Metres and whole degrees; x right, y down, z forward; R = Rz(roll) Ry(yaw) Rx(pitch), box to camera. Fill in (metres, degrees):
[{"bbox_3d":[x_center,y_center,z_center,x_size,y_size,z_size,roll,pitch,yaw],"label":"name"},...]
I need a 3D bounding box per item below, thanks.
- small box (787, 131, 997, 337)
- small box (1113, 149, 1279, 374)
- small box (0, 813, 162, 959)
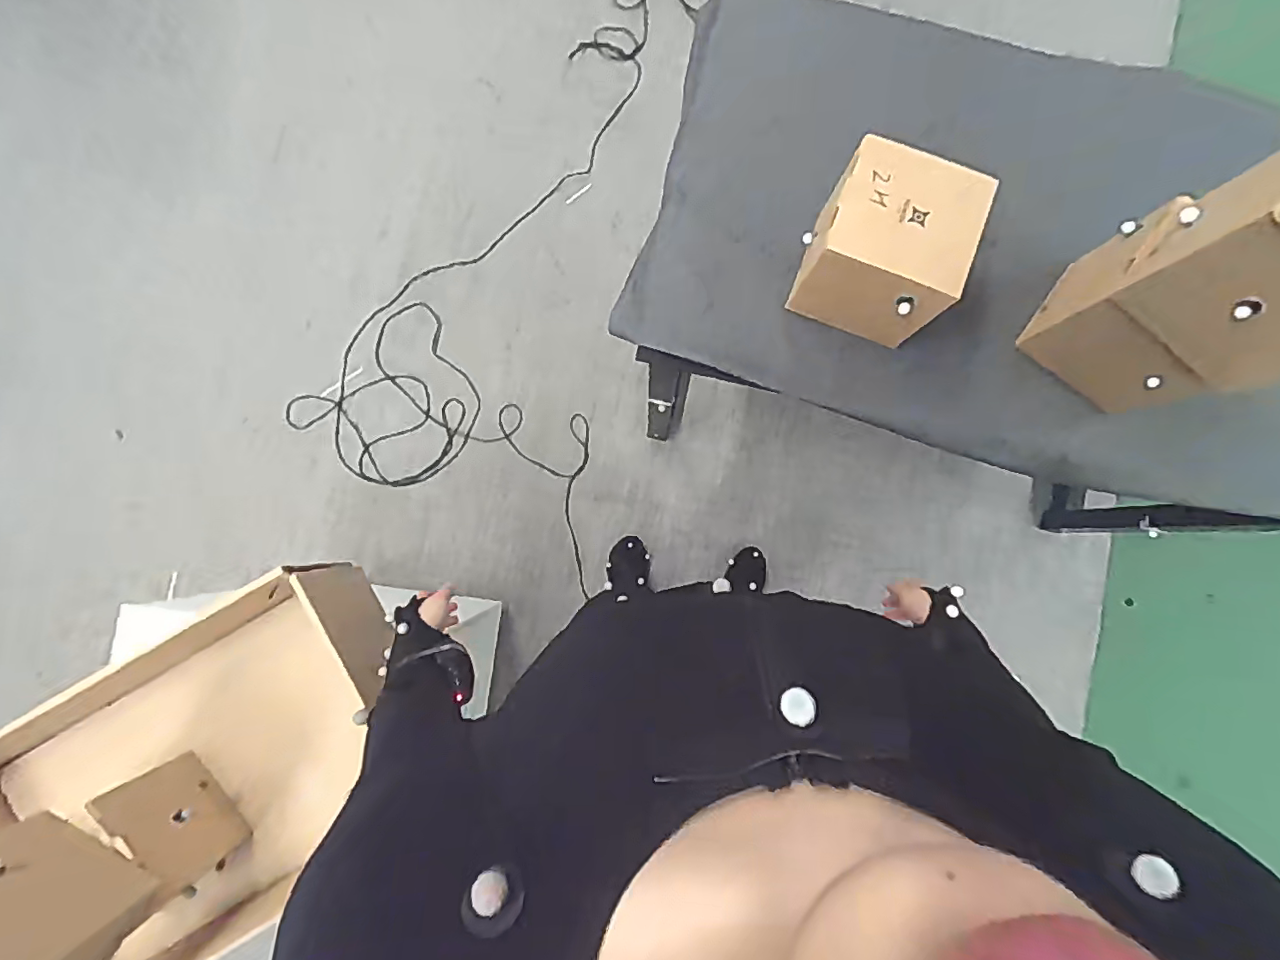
[{"bbox_3d":[0.324,-0.314,0.729,0.179,0.176,0.168,21,84,3],"label":"small box"},{"bbox_3d":[0.663,-0.229,0.552,0.179,0.176,0.168,44,85,5],"label":"small box"},{"bbox_3d":[-0.703,0.509,0.591,0.179,0.176,0.168,31,86,0],"label":"small box"}]
